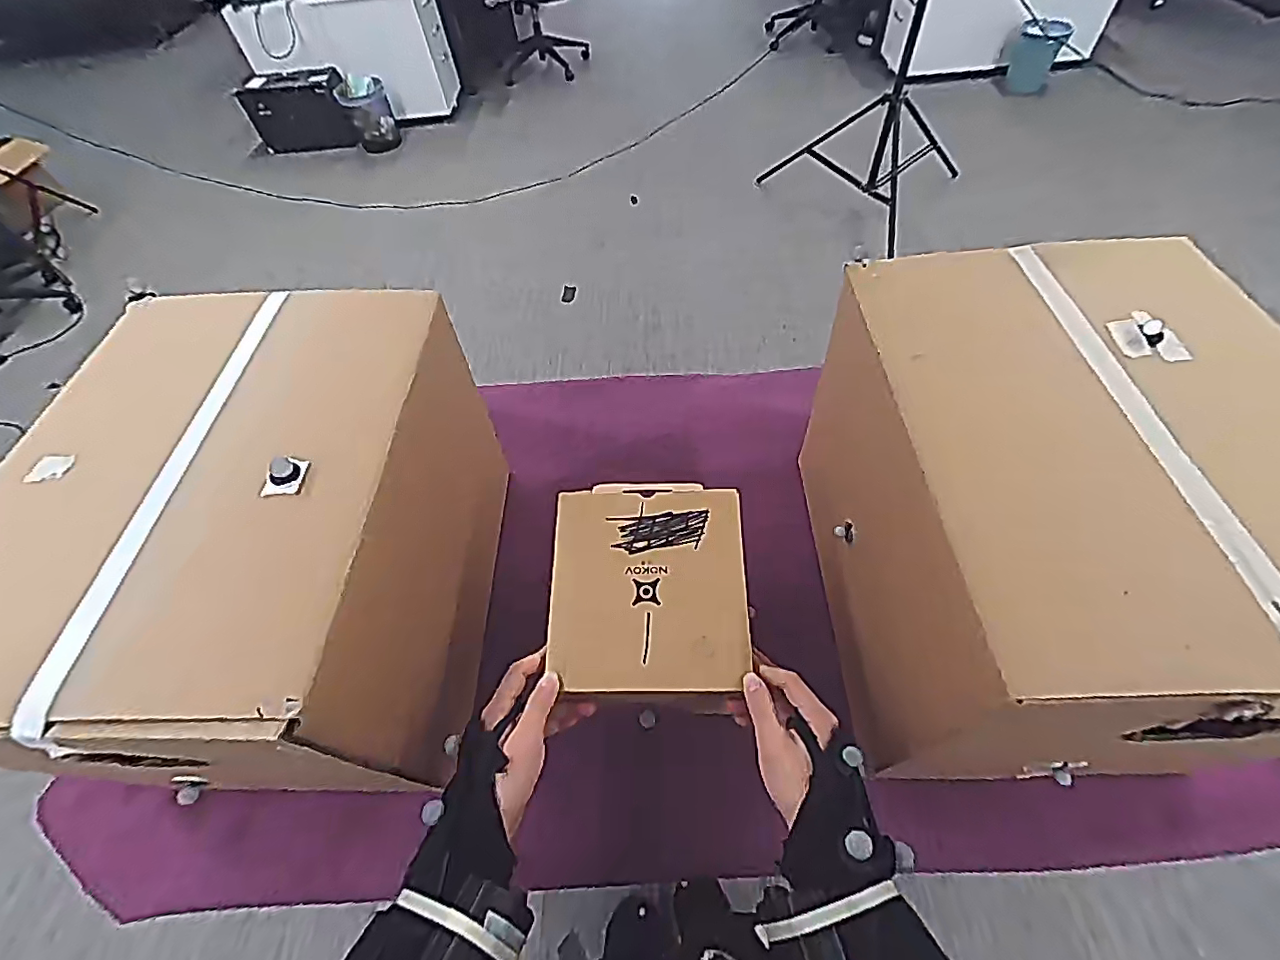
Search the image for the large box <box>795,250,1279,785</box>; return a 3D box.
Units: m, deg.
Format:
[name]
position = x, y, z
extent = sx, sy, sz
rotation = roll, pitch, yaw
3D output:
[large box]
position = 0.357, 0.041, 0.520
extent = 0.320, 0.320, 0.408
rotation = -3, 53, 3
